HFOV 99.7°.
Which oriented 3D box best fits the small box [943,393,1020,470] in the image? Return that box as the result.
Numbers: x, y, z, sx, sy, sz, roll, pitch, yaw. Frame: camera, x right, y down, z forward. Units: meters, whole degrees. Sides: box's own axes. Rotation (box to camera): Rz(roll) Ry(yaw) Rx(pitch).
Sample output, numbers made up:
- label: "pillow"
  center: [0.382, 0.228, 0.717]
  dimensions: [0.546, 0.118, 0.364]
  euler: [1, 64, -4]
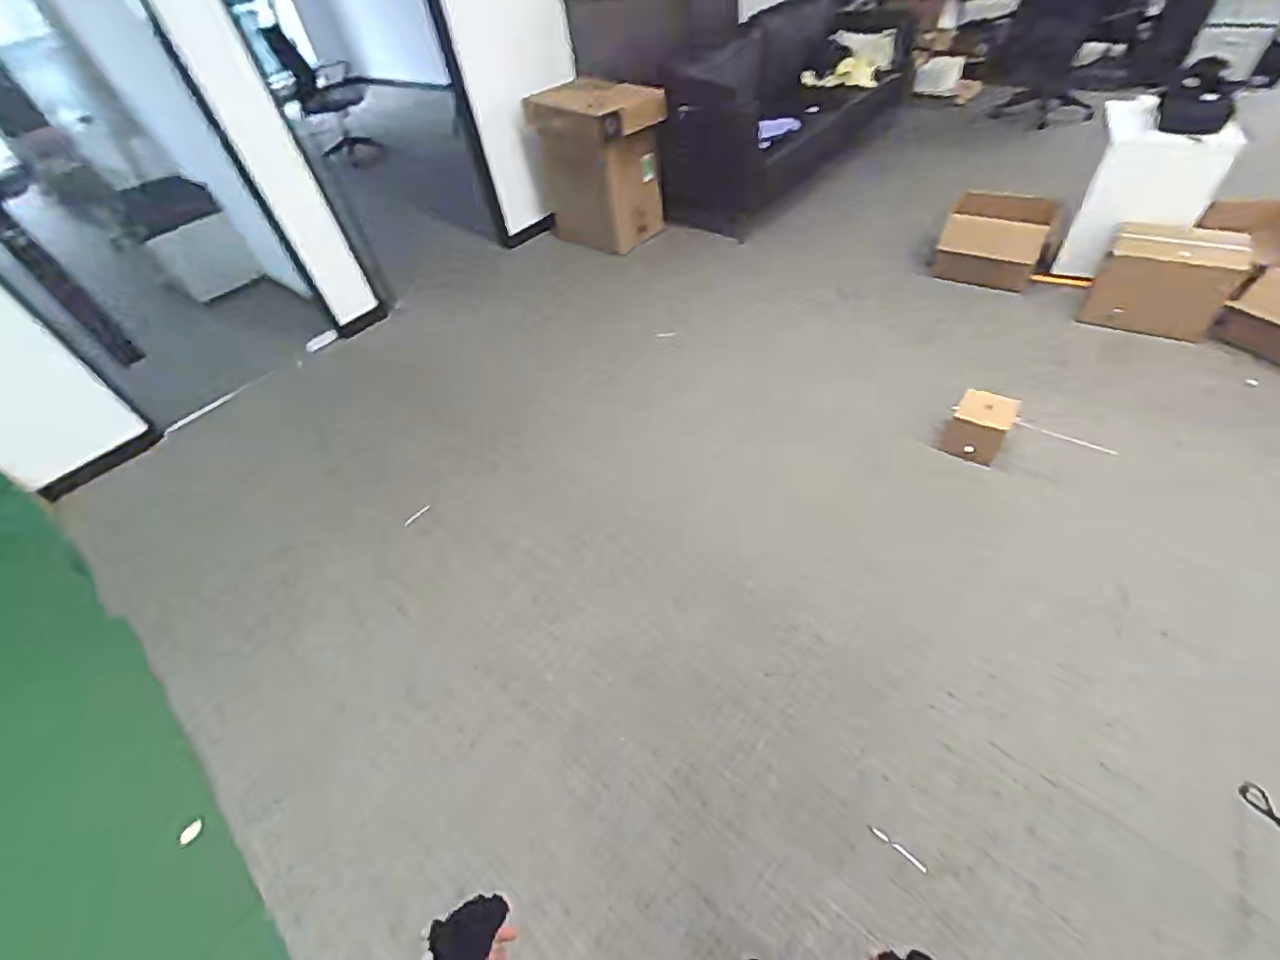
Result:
- label: "small box"
  center: [1.180, -0.168, 1.876]
  dimensions: [0.168, 0.176, 0.179]
  euler: [24, 55, 28]
